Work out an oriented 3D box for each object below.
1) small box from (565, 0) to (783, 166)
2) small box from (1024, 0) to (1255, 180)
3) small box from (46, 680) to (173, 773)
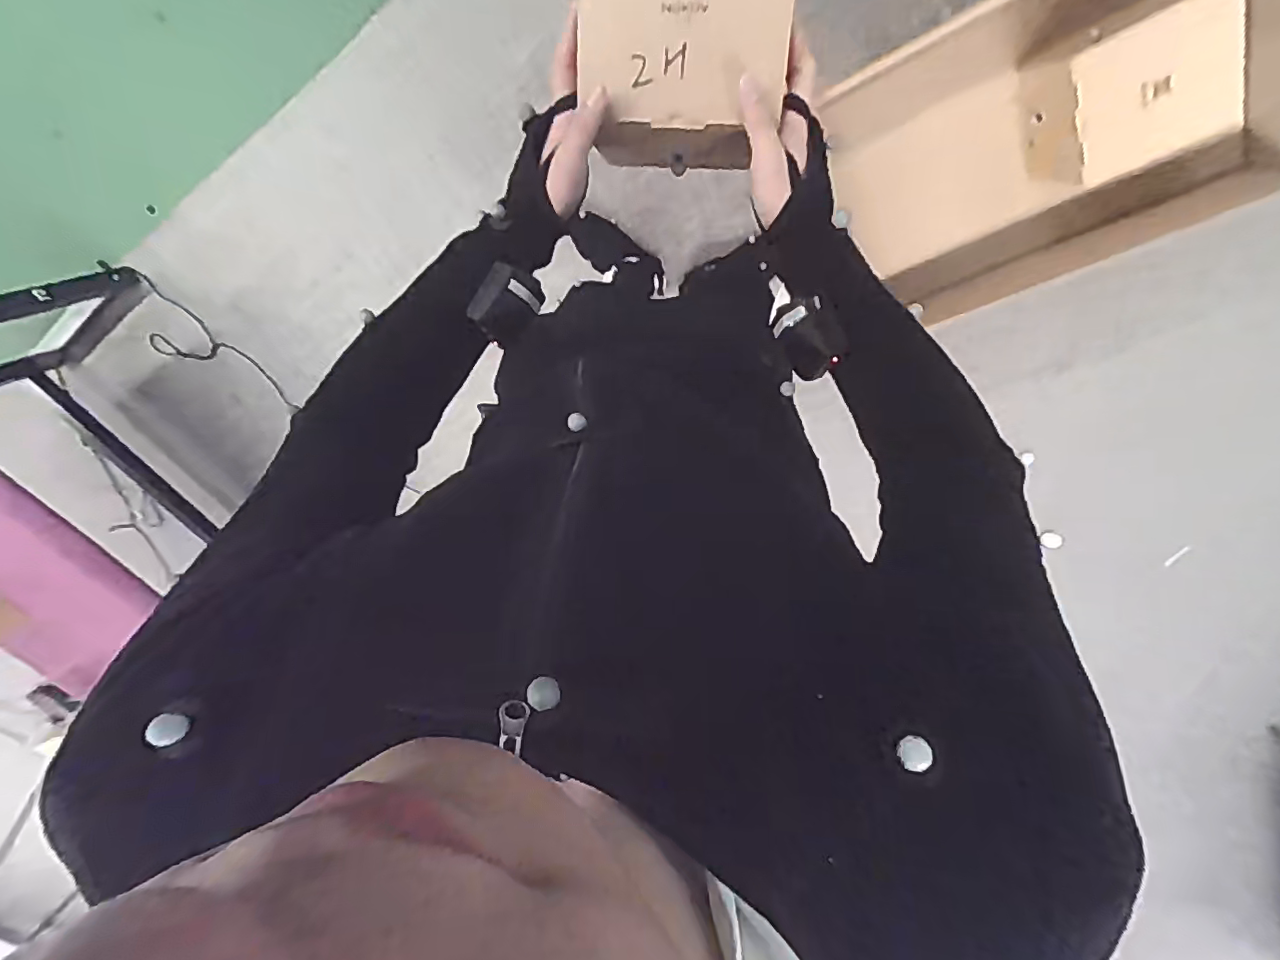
[{"bbox_3d":[0.032,-0.396,0.476,0.168,0.176,0.179,4,110,6],"label":"small box"},{"bbox_3d":[0.674,-0.547,0.746,0.179,0.176,0.168,-20,118,22],"label":"small box"},{"bbox_3d":[-1.498,0.699,1.541,0.179,0.176,0.168,-25,115,23],"label":"small box"}]
